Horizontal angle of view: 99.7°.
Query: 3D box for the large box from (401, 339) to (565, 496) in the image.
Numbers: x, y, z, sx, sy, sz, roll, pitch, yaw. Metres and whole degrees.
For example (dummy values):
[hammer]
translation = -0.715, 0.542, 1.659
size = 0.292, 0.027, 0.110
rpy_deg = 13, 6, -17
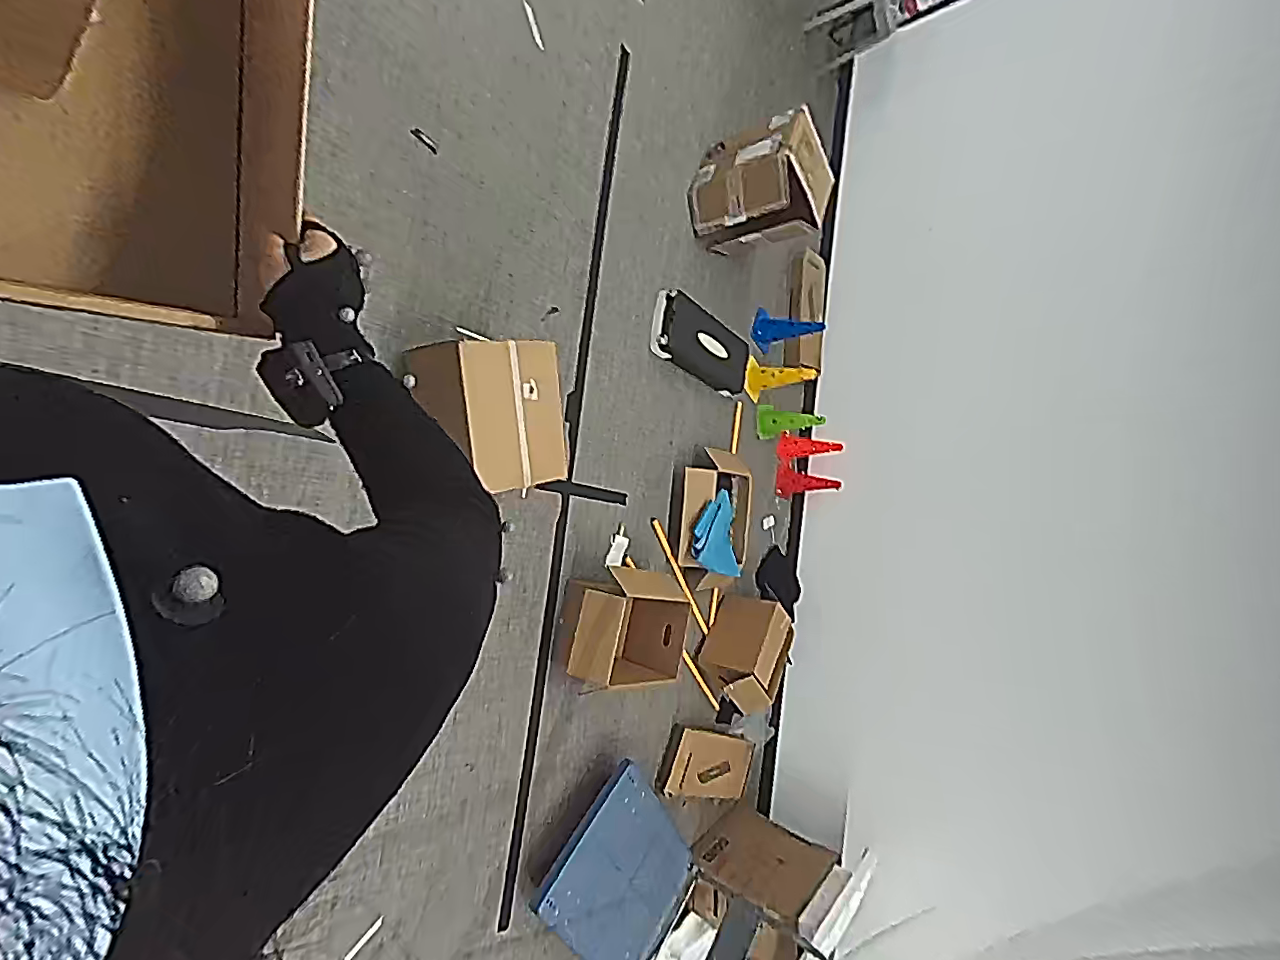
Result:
[large box]
translation = -0.455, -0.185, 1.574
size = 0.320, 0.320, 0.408
rpy_deg = -15, 104, -48
